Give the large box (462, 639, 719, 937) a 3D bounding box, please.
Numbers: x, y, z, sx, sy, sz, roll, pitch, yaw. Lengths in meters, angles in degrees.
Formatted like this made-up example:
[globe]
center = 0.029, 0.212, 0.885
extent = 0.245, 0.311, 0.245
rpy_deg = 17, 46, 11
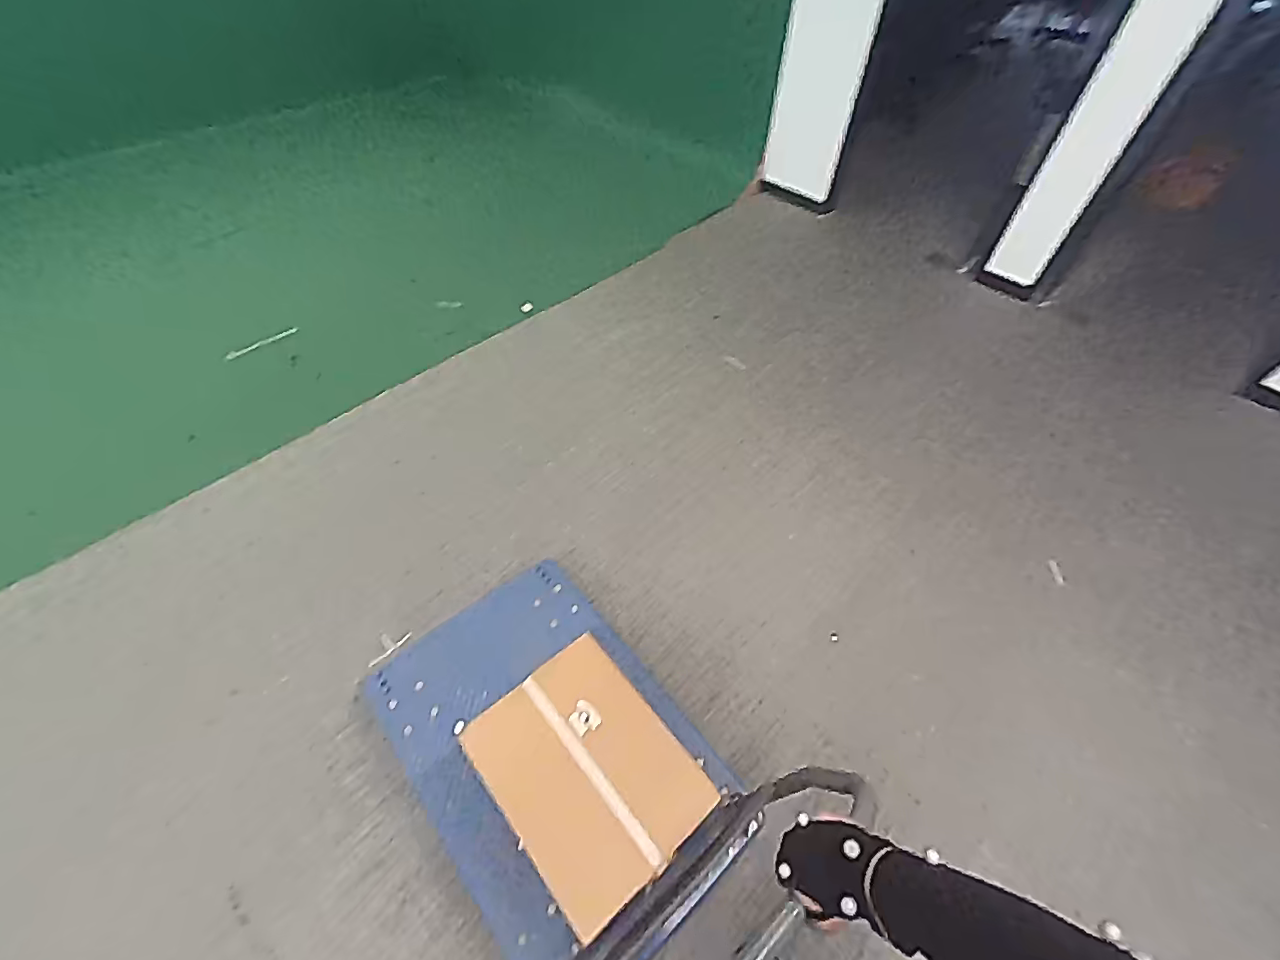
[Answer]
[large box]
center = -0.097, 0.623, 1.122
extent = 0.320, 0.320, 0.408
rpy_deg = -33, 59, -25
